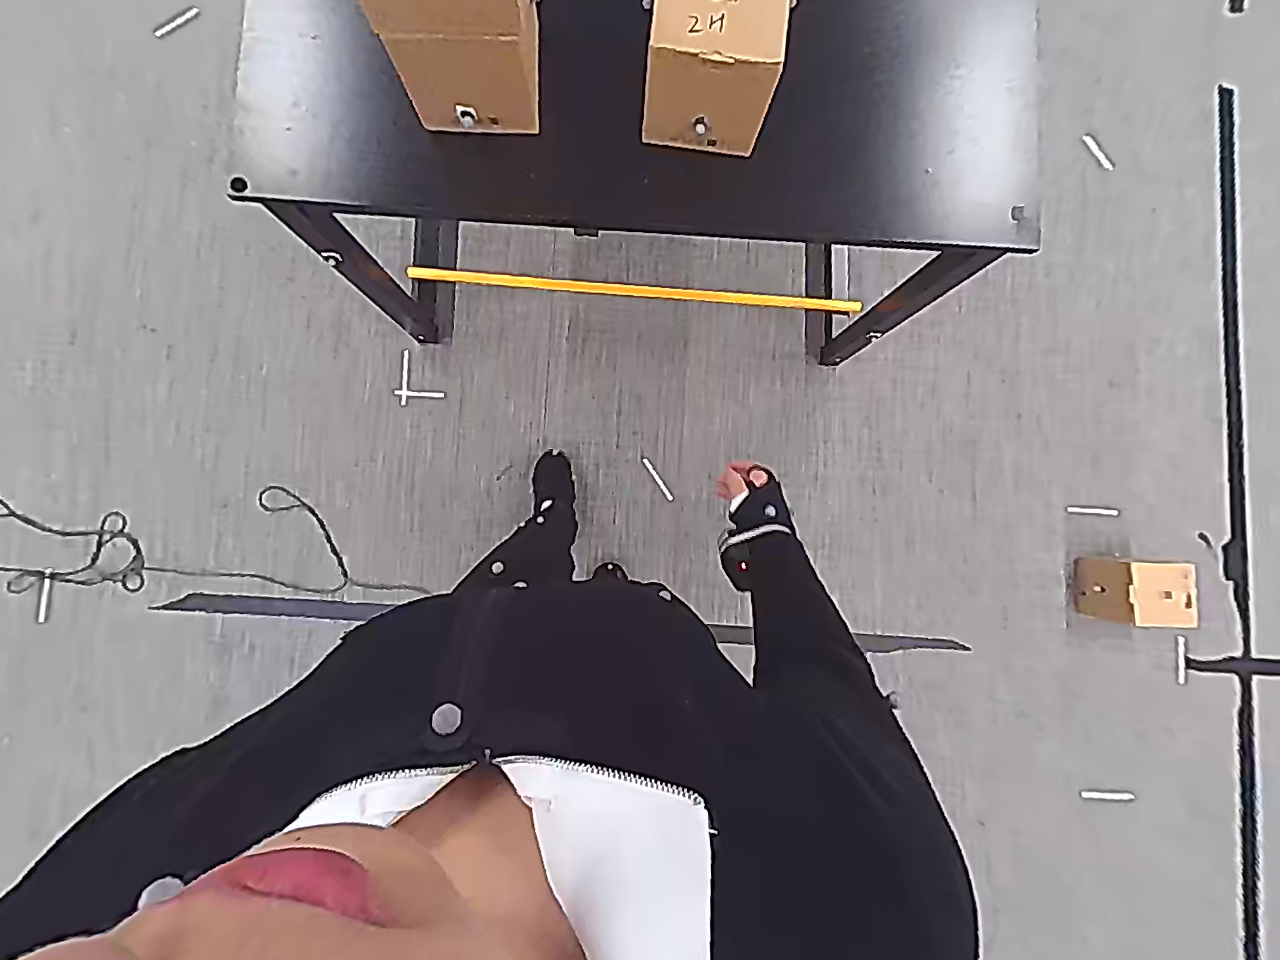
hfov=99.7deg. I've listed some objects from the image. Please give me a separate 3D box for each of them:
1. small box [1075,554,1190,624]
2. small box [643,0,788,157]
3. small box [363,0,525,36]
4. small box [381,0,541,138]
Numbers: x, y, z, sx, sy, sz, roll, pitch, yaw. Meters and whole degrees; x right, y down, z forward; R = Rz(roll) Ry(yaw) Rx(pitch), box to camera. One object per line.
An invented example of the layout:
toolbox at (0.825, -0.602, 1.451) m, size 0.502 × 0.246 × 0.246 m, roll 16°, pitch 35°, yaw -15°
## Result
small box at (1.340, 0.295, 1.484) m, size 0.179 × 0.176 × 0.168 m, roll 2°, pitch 86°, yaw -2°
small box at (0.096, -0.587, 0.738) m, size 0.168 × 0.176 × 0.179 m, roll 7°, pitch 86°, yaw -2°
small box at (-0.221, -0.607, 0.559) m, size 0.179 × 0.176 × 0.168 m, roll -2°, pitch 86°, yaw -3°
small box at (-0.228, -0.600, 0.723) m, size 0.168 × 0.176 × 0.179 m, roll -1°, pitch 87°, yaw -2°
